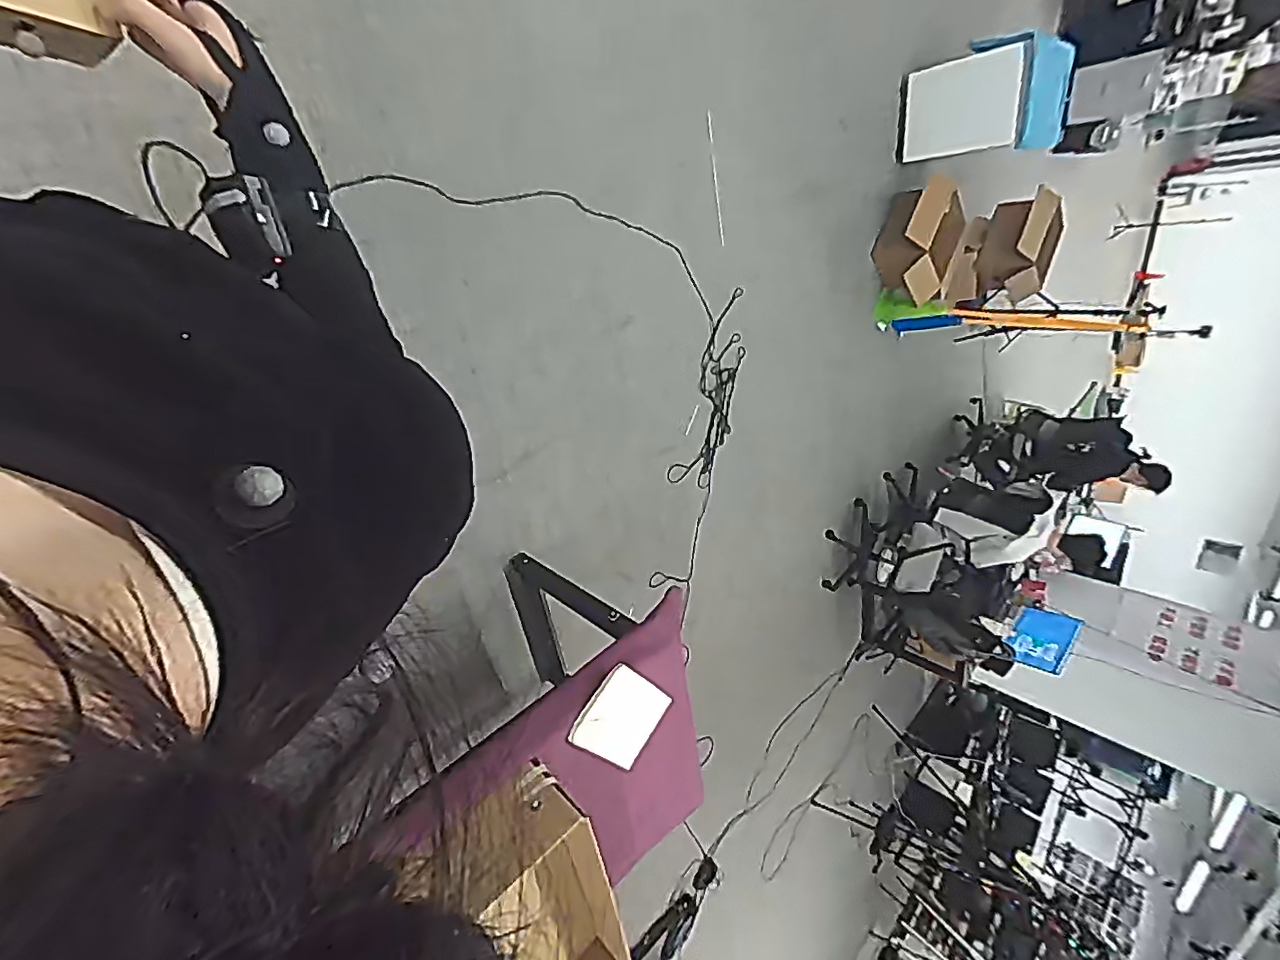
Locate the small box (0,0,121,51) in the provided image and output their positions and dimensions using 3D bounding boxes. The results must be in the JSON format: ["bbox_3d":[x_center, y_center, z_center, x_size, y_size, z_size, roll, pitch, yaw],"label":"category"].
[{"bbox_3d":[-0.453,-0.386,0.321,0.179,0.176,0.168,-15,121,-44],"label":"small box"}]
